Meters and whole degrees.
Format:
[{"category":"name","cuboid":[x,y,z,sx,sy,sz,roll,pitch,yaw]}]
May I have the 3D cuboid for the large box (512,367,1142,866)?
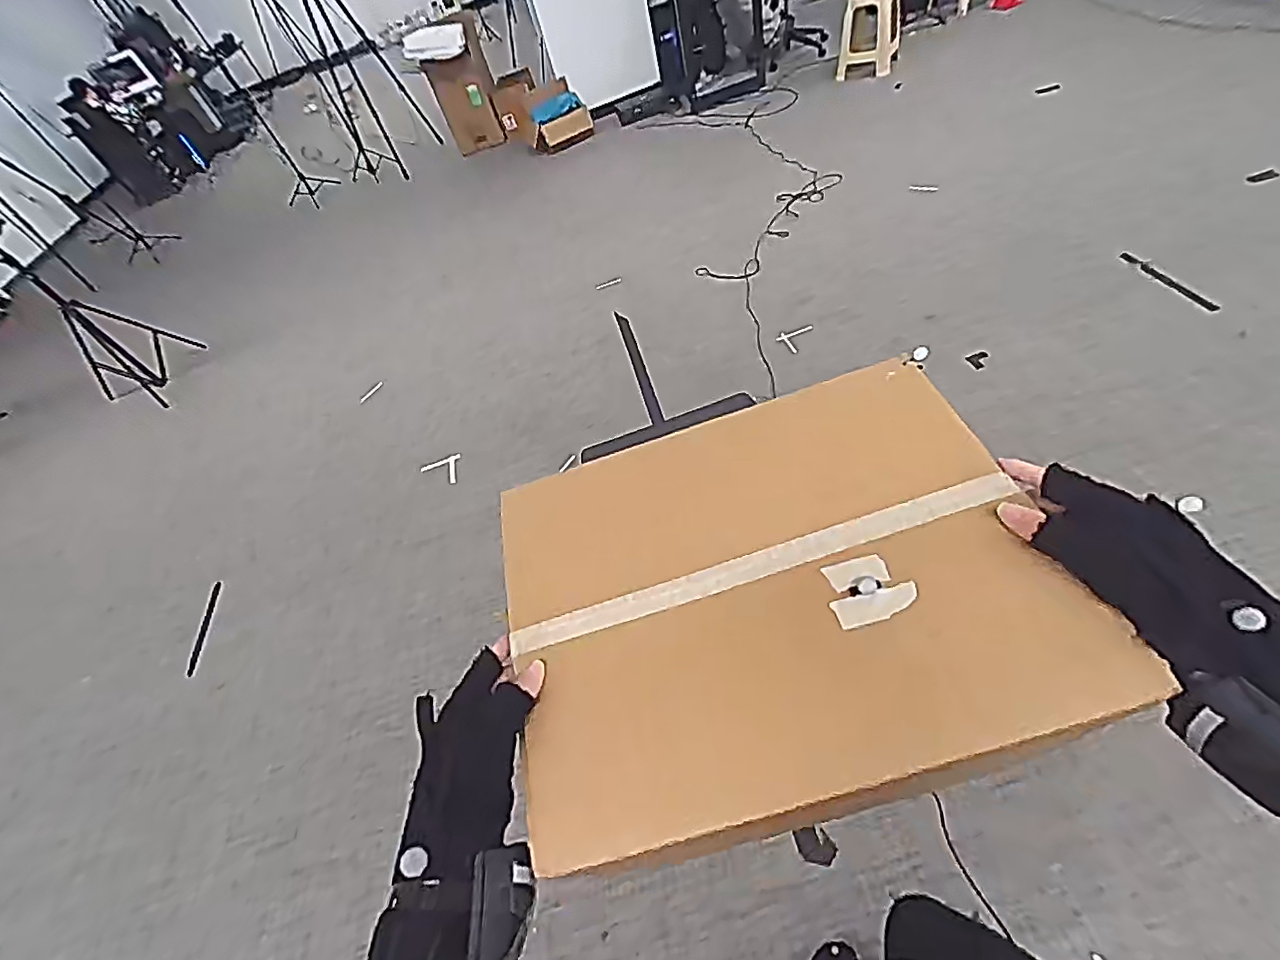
[{"category":"large box","cuboid":[0.128,0.155,0.552,0.408,0.320,0.320,-19,54,3]}]
